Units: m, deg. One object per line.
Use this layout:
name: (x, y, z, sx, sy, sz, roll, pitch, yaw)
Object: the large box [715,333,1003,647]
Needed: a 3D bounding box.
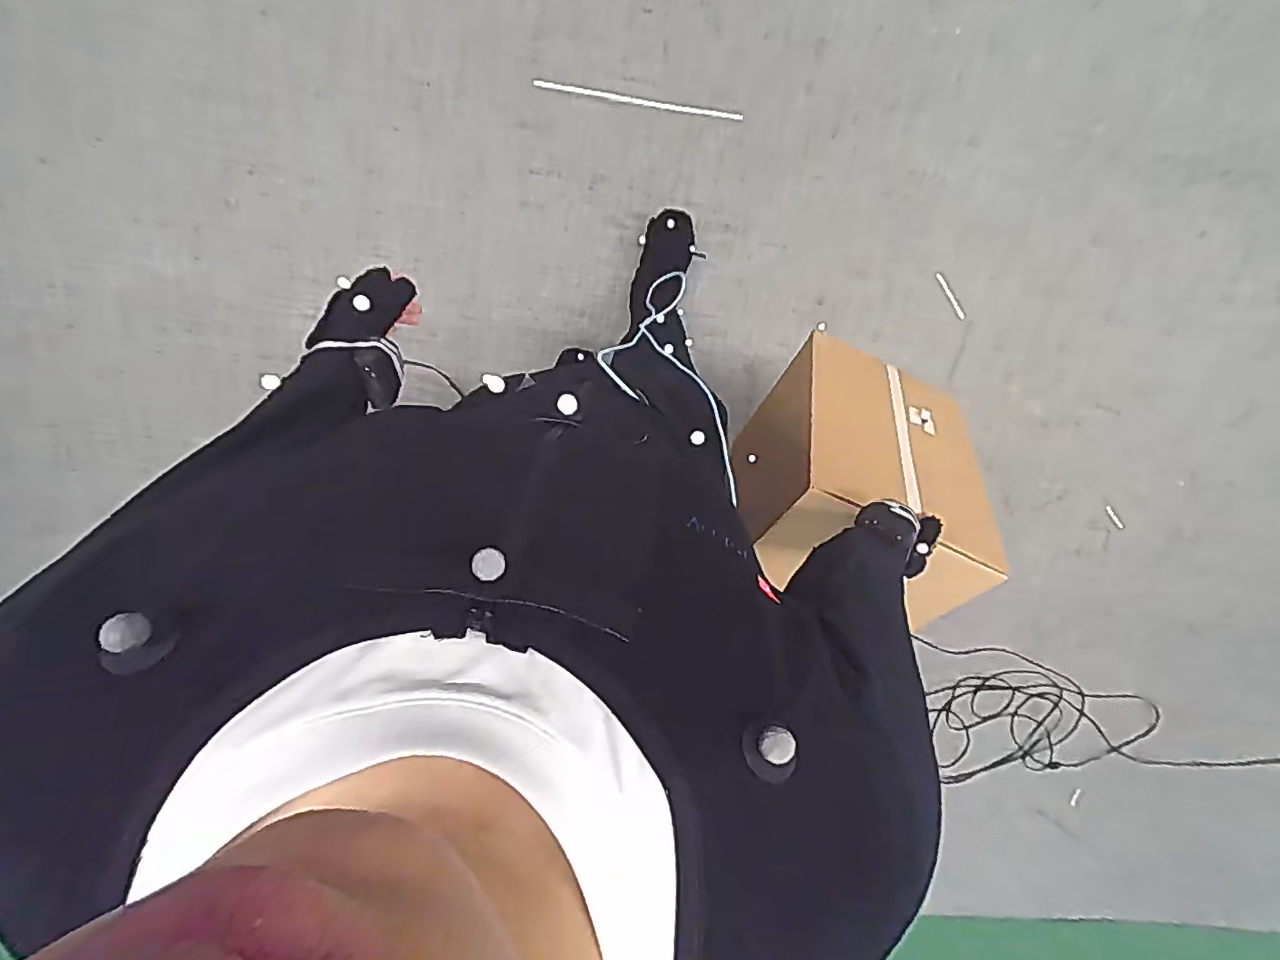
large box: (0.356, 0.019, 0.969, 0.320, 0.408, 0.320, 25, 137, -7)
